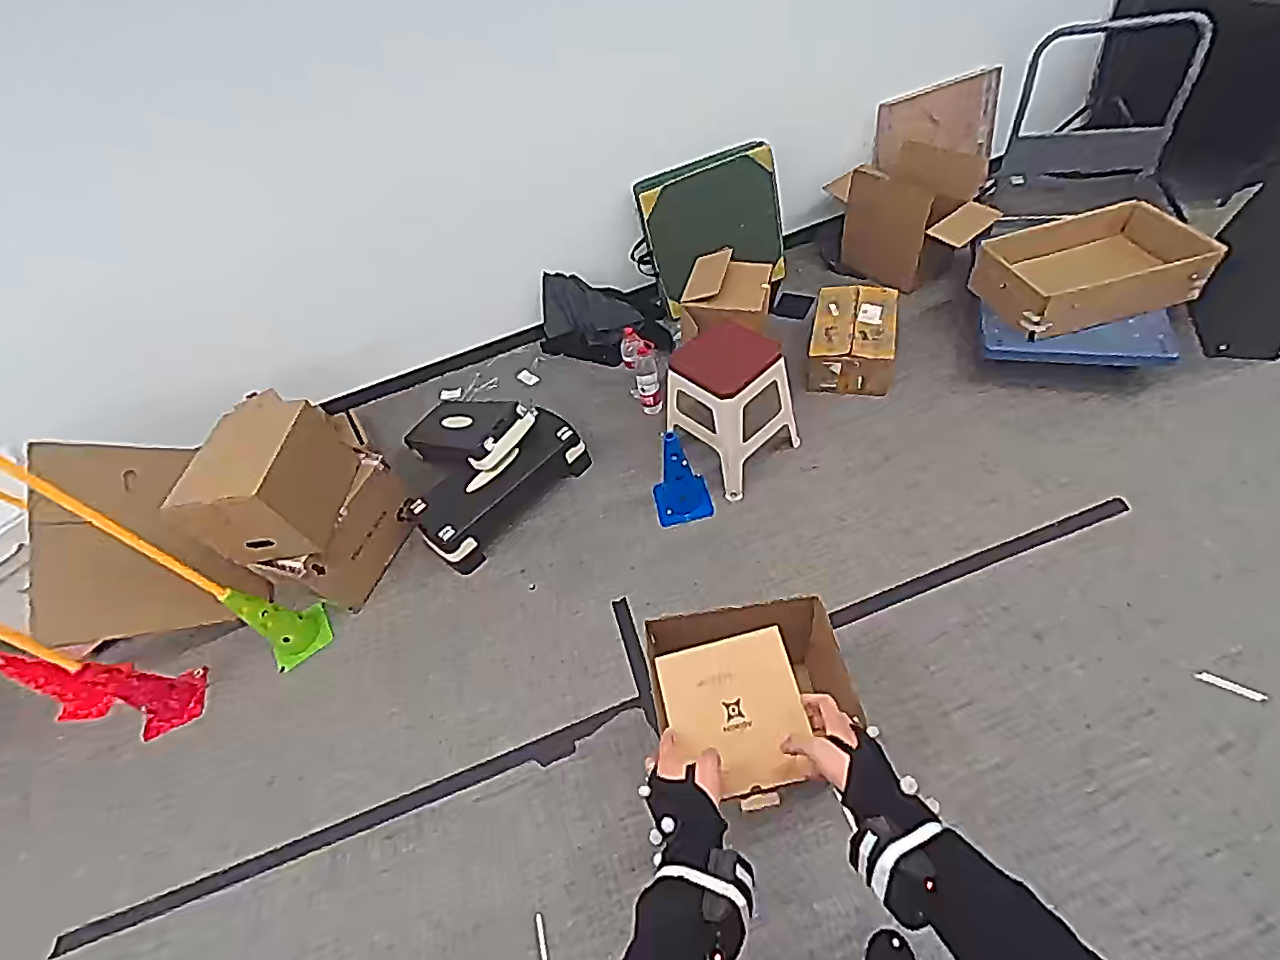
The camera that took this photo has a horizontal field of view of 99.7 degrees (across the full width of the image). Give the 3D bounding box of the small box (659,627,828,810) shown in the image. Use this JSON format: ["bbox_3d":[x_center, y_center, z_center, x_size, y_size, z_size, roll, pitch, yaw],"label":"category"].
[{"bbox_3d":[0.135,0.312,0.717,0.168,0.176,0.179,-16,62,5],"label":"small box"}]
